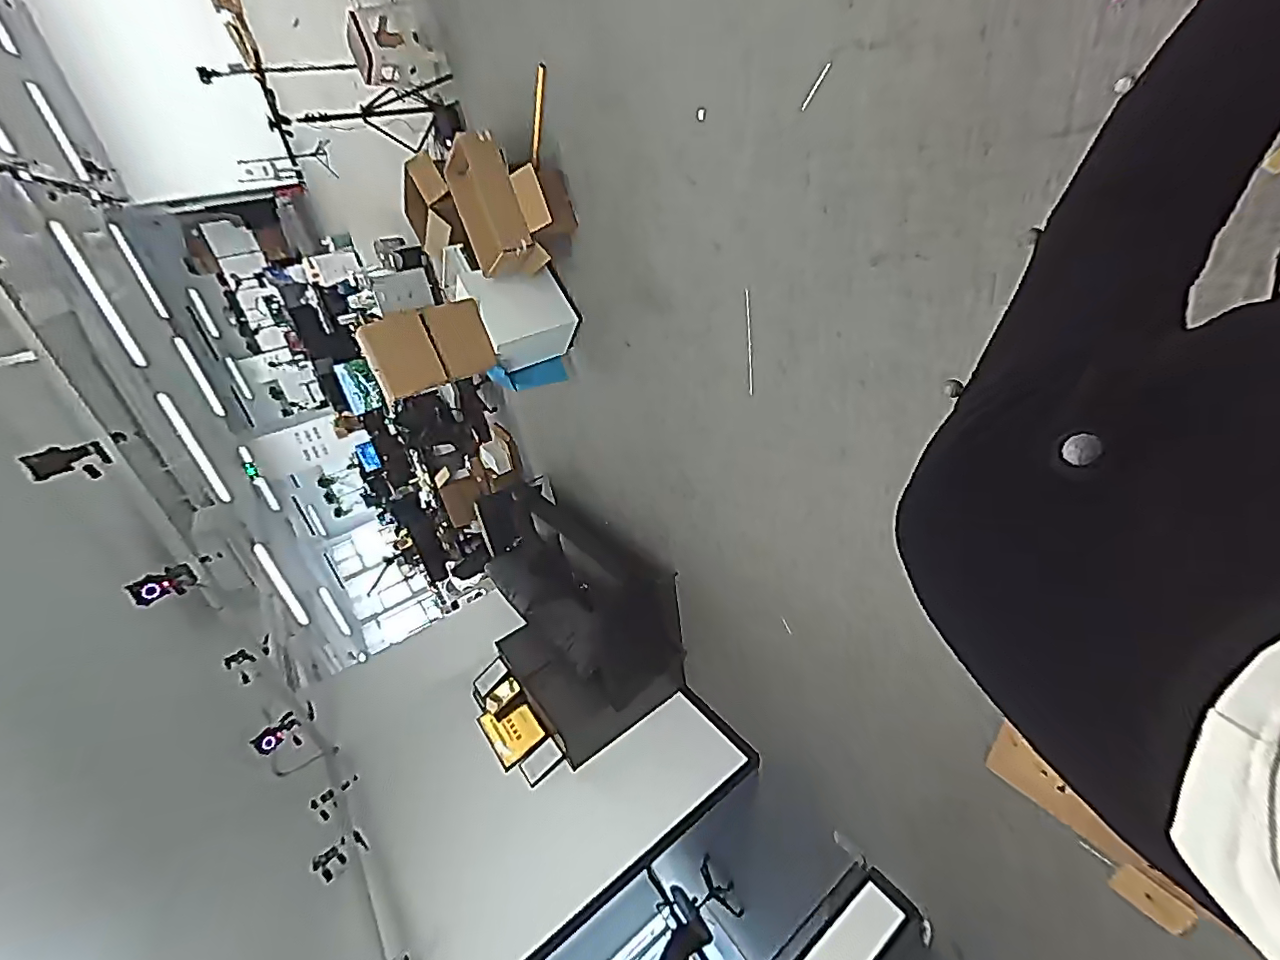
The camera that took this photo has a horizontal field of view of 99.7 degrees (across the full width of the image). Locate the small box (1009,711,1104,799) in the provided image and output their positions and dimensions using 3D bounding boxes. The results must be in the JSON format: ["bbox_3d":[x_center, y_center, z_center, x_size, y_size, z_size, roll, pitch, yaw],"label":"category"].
[{"bbox_3d":[1.393,0.908,1.811,0.179,0.176,0.168,34,142,44],"label":"small box"}]

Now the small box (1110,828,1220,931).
[{"bbox_3d":[1.623,1.223,1.674,0.179,0.176,0.168,33,141,45],"label":"small box"}]
